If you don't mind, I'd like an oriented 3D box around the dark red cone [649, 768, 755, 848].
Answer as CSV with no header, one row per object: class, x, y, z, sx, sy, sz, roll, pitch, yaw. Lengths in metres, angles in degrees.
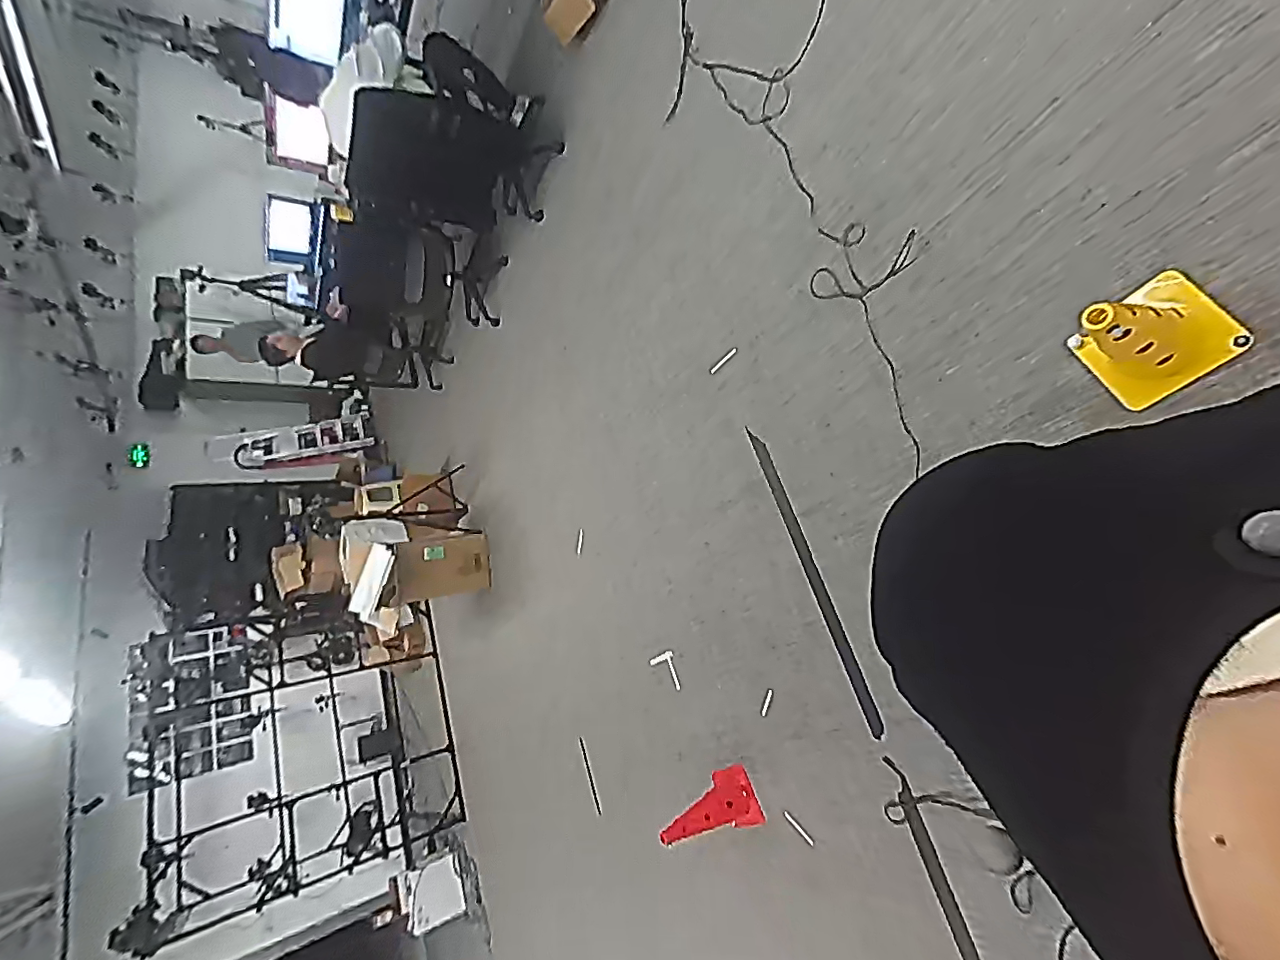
dark red cone,0.195,1.175,1.872,0.201,0.394,0.202,-49,55,42
